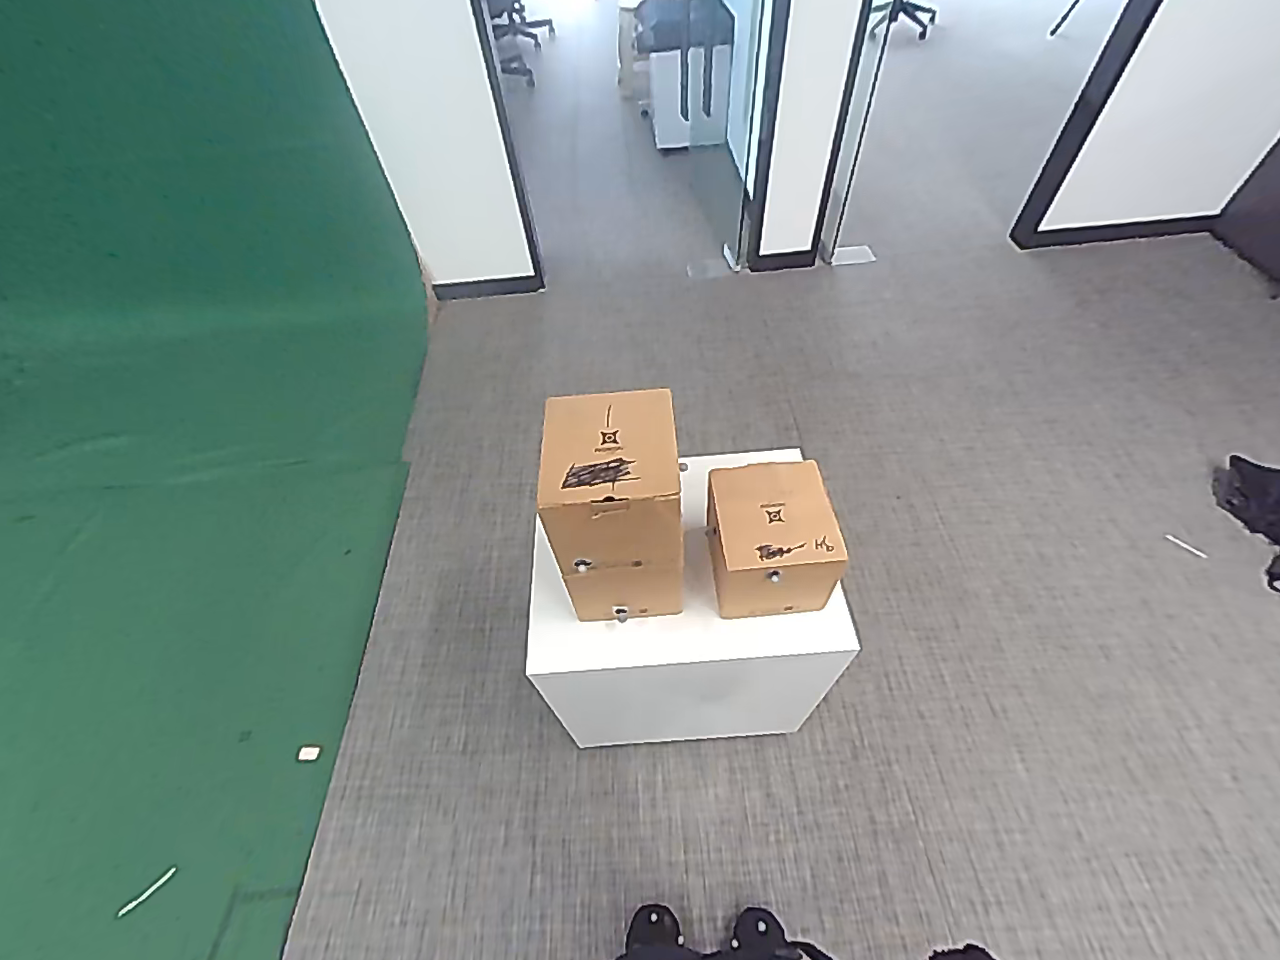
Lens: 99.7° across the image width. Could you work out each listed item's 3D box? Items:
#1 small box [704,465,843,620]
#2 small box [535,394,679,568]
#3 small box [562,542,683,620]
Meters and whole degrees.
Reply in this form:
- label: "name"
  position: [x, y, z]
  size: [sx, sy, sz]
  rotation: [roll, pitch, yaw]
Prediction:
- label: "small box"
  position: [0.194, 0.099, 0.844]
  size: [0.168, 0.176, 0.179]
  rotation: [-5, 52, 1]
- label: "small box"
  position: [-0.035, 0.009, 0.727]
  size: [0.168, 0.176, 0.179]
  rotation: [-4, 51, 2]
- label: "small box"
  position: [-0.026, 0.099, 0.844]
  size: [0.168, 0.176, 0.179]
  rotation: [-7, 54, 0]
